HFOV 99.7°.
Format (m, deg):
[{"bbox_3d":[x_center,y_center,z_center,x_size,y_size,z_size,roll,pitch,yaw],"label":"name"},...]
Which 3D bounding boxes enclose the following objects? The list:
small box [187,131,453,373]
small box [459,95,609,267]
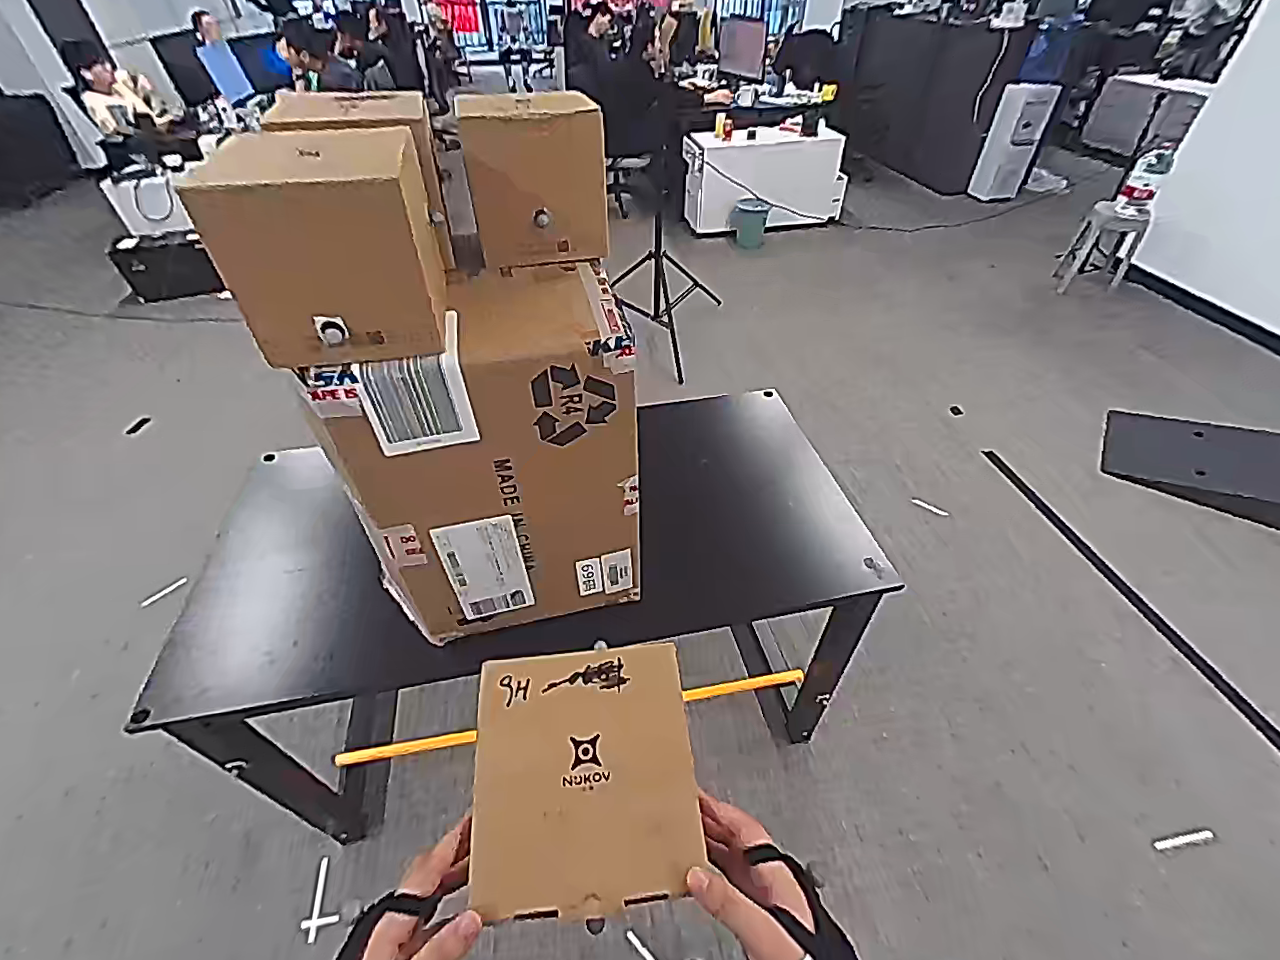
[{"bbox_3d":[-0.290,-0.230,0.540,0.168,0.176,0.179,-10,47,-11],"label":"small box"},{"bbox_3d":[-0.140,-0.400,0.720,0.168,0.176,0.179,-10,43,-10],"label":"small box"}]
